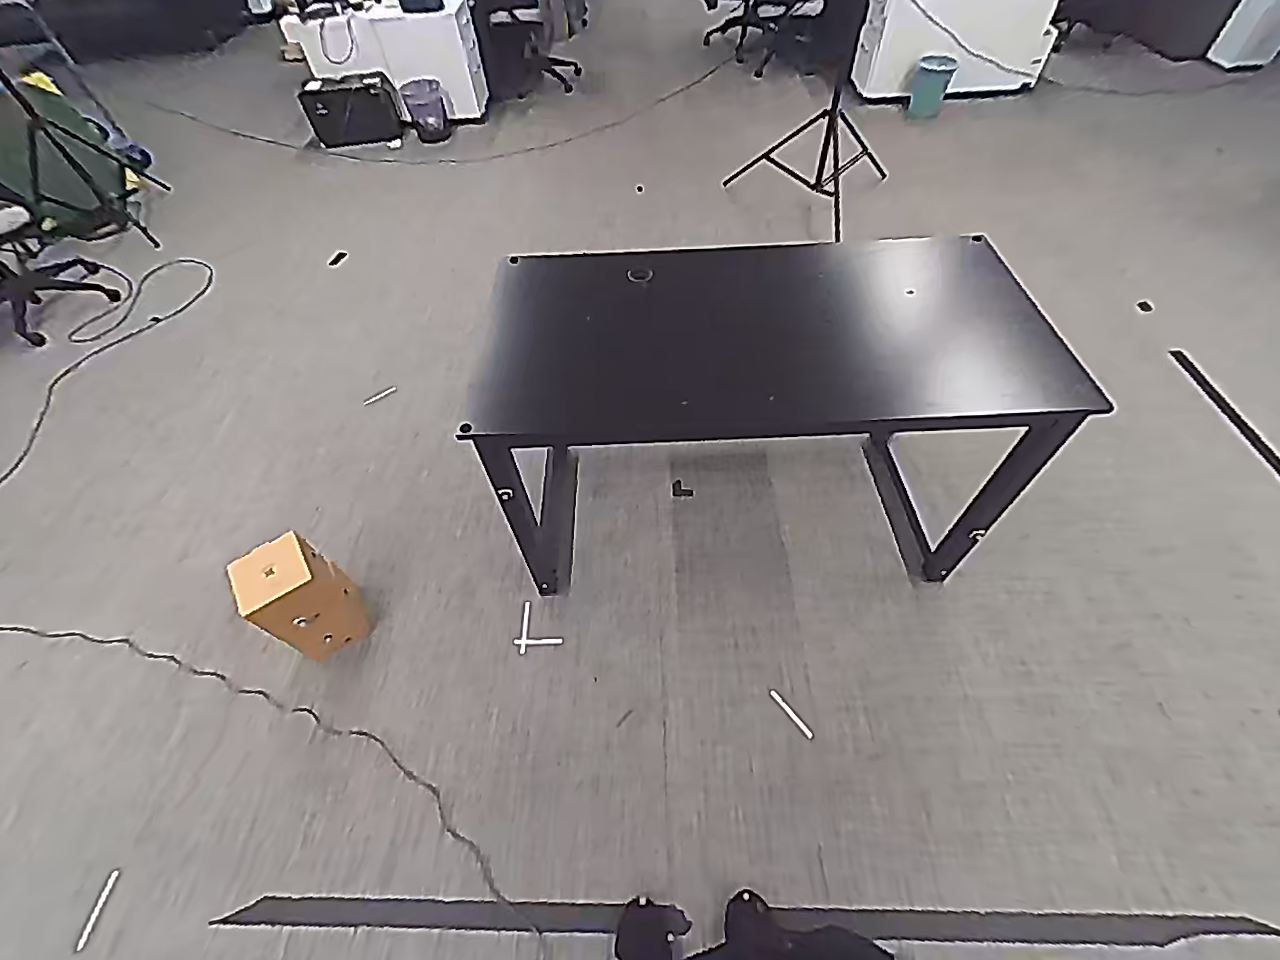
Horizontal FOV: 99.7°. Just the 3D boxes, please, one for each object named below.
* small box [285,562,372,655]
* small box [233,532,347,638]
[{"bbox_3d":[-0.885,0.370,1.524,0.168,0.176,0.179,-27,56,-18],"label":"small box"},{"bbox_3d":[-0.894,0.274,1.391,0.168,0.176,0.179,-33,59,-18],"label":"small box"}]
